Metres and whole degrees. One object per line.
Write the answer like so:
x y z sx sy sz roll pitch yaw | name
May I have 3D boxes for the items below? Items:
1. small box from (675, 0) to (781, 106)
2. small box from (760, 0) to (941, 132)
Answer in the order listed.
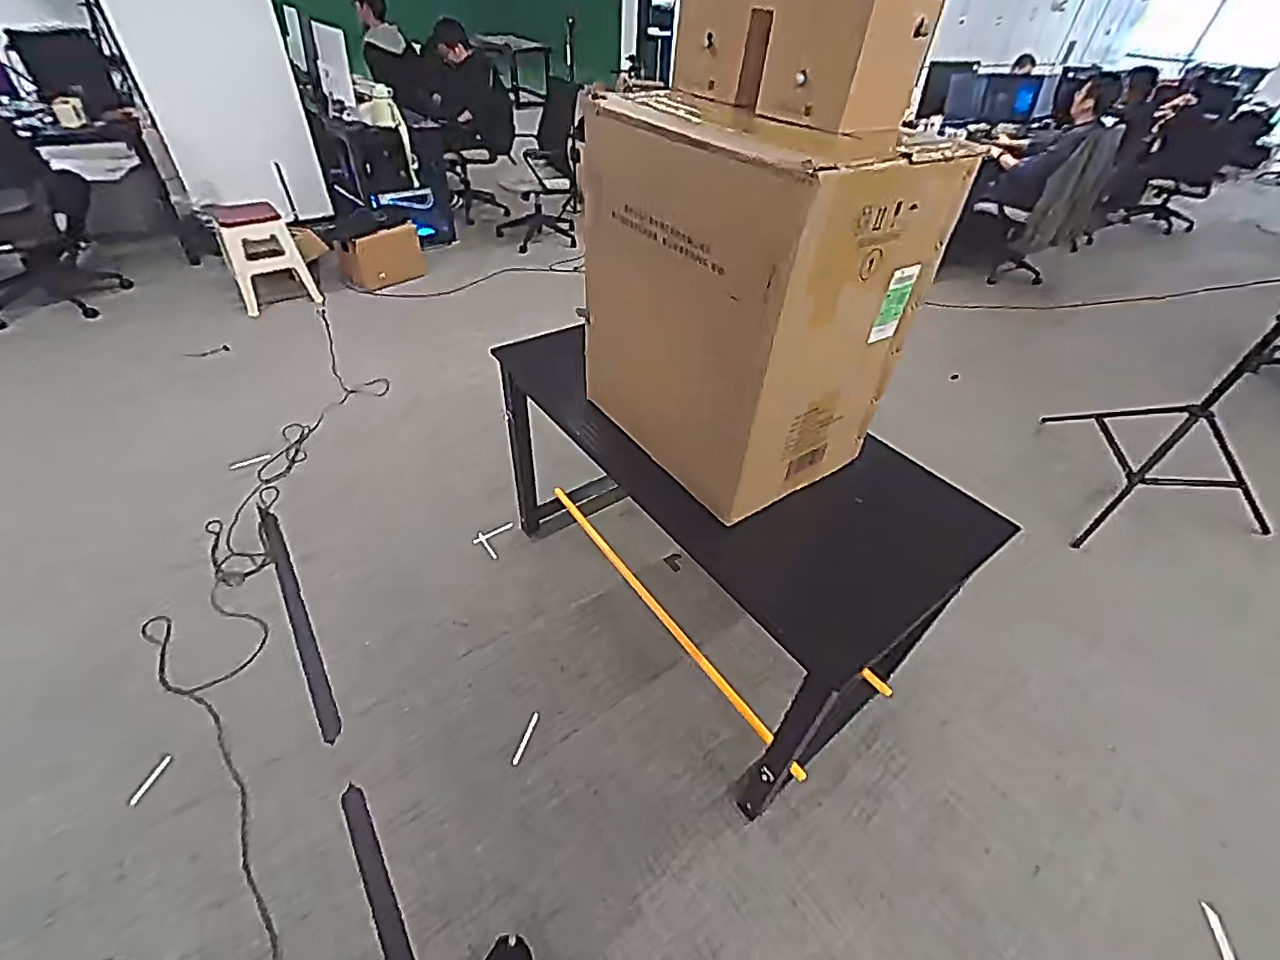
0.177 -0.773 0.951 0.179 0.176 0.168 -28 53 -31 | small box
0.307 -0.642 0.819 0.179 0.176 0.168 -26 50 -31 | small box
